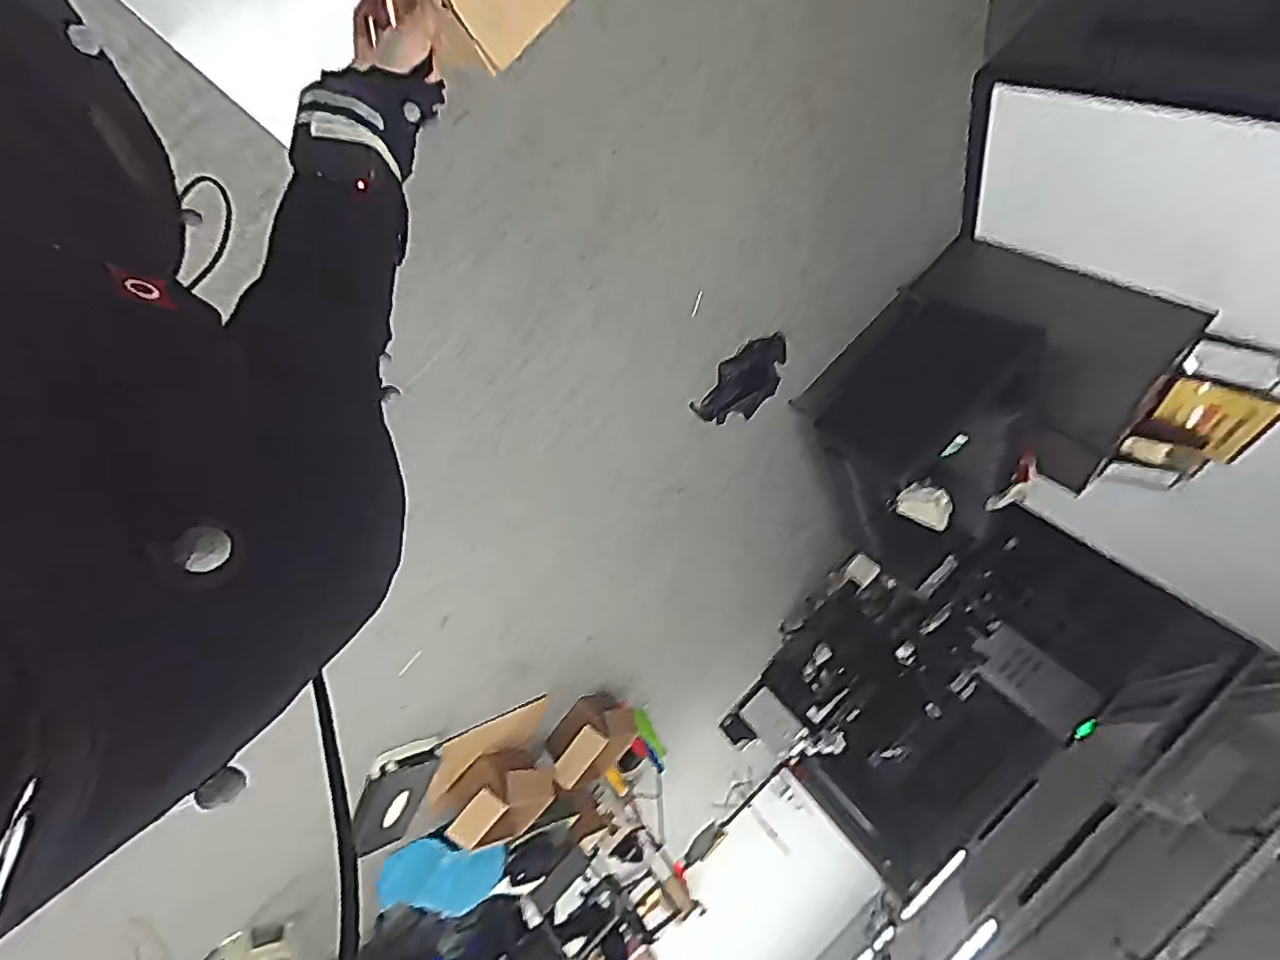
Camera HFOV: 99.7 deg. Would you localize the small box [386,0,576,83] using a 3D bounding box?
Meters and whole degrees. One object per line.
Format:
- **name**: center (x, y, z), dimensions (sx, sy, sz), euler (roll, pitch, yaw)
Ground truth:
- **small box**: center (-0.160, -0.505, 0.483), dimensions (0.179, 0.176, 0.168), euler (-48, 145, 0)
